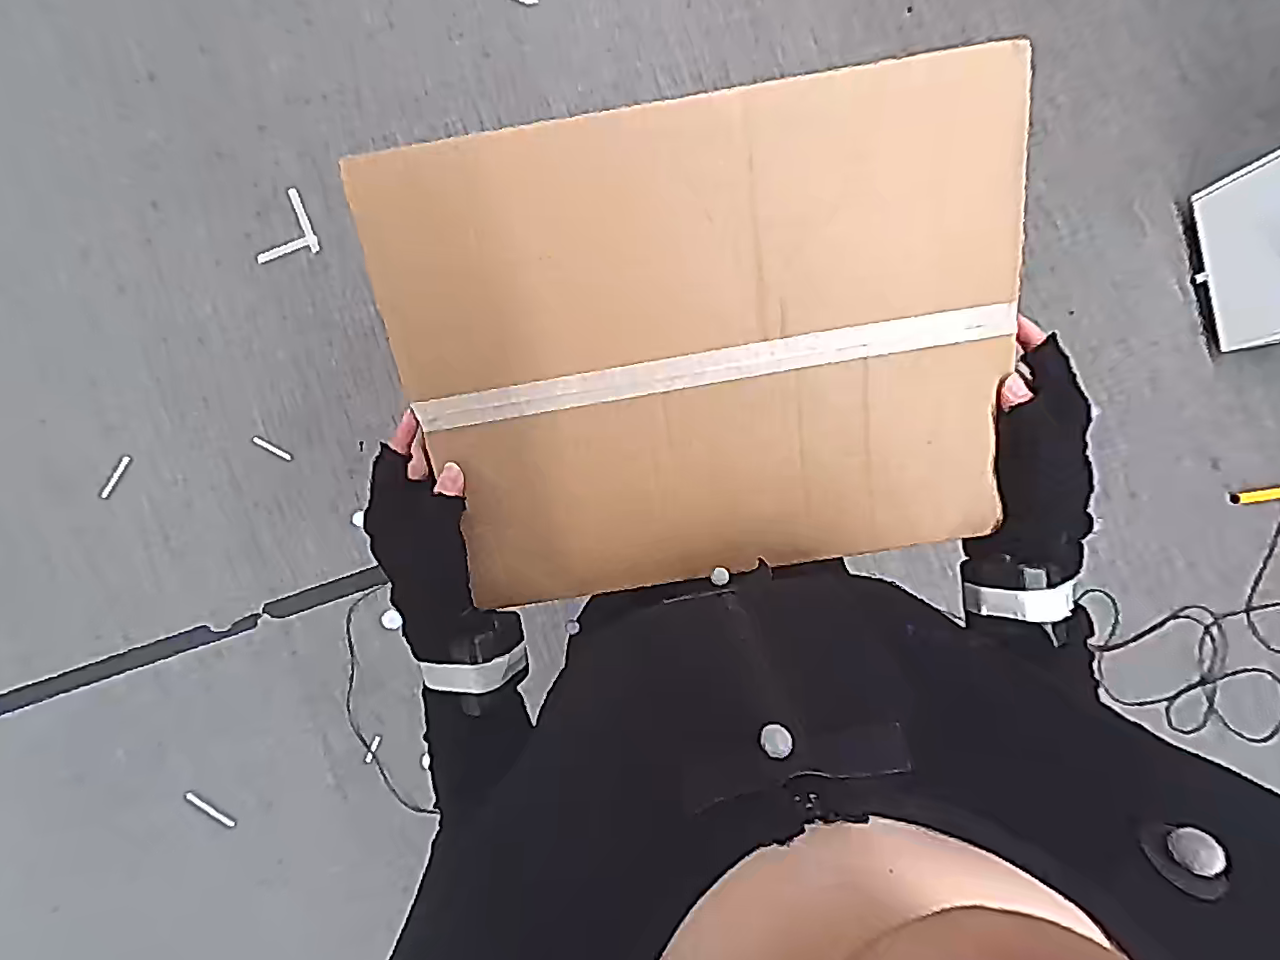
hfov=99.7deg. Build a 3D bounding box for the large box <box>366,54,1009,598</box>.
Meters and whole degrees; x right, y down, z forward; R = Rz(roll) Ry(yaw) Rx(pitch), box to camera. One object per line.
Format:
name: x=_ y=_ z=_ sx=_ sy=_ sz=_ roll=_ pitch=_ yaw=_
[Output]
large box: x=0.043 y=-0.125 z=0.514 sx=0.408 sy=0.320 sz=0.320 roll=-8 pitch=109 yaw=1
